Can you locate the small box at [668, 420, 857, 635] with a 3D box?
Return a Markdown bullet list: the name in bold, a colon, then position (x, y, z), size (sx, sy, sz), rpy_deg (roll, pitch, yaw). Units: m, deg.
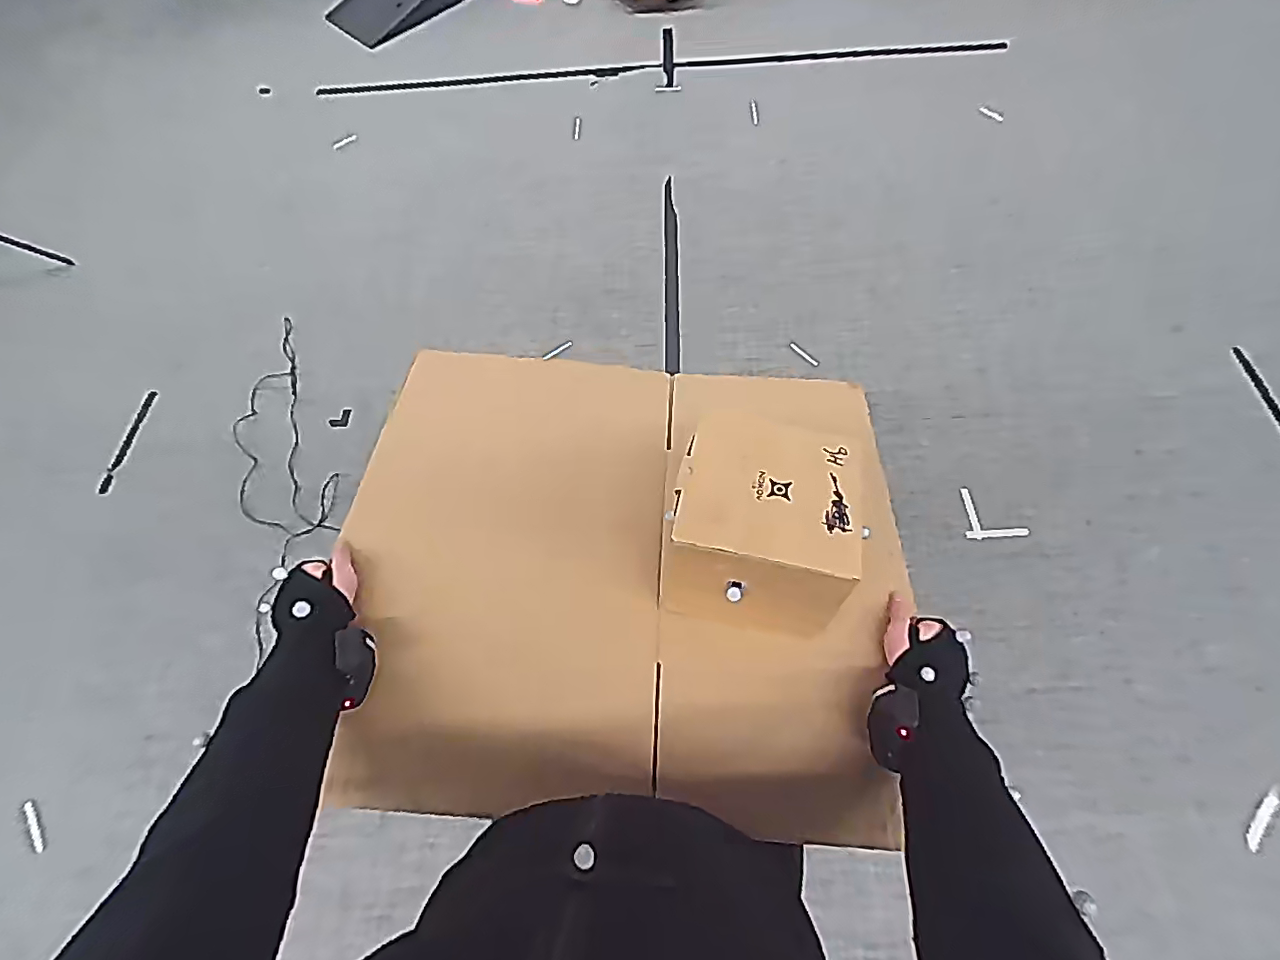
- **small box**: position (0.131, 0.058, 0.609), size (0.179, 0.176, 0.168), rpy_deg (10, 56, 9)
